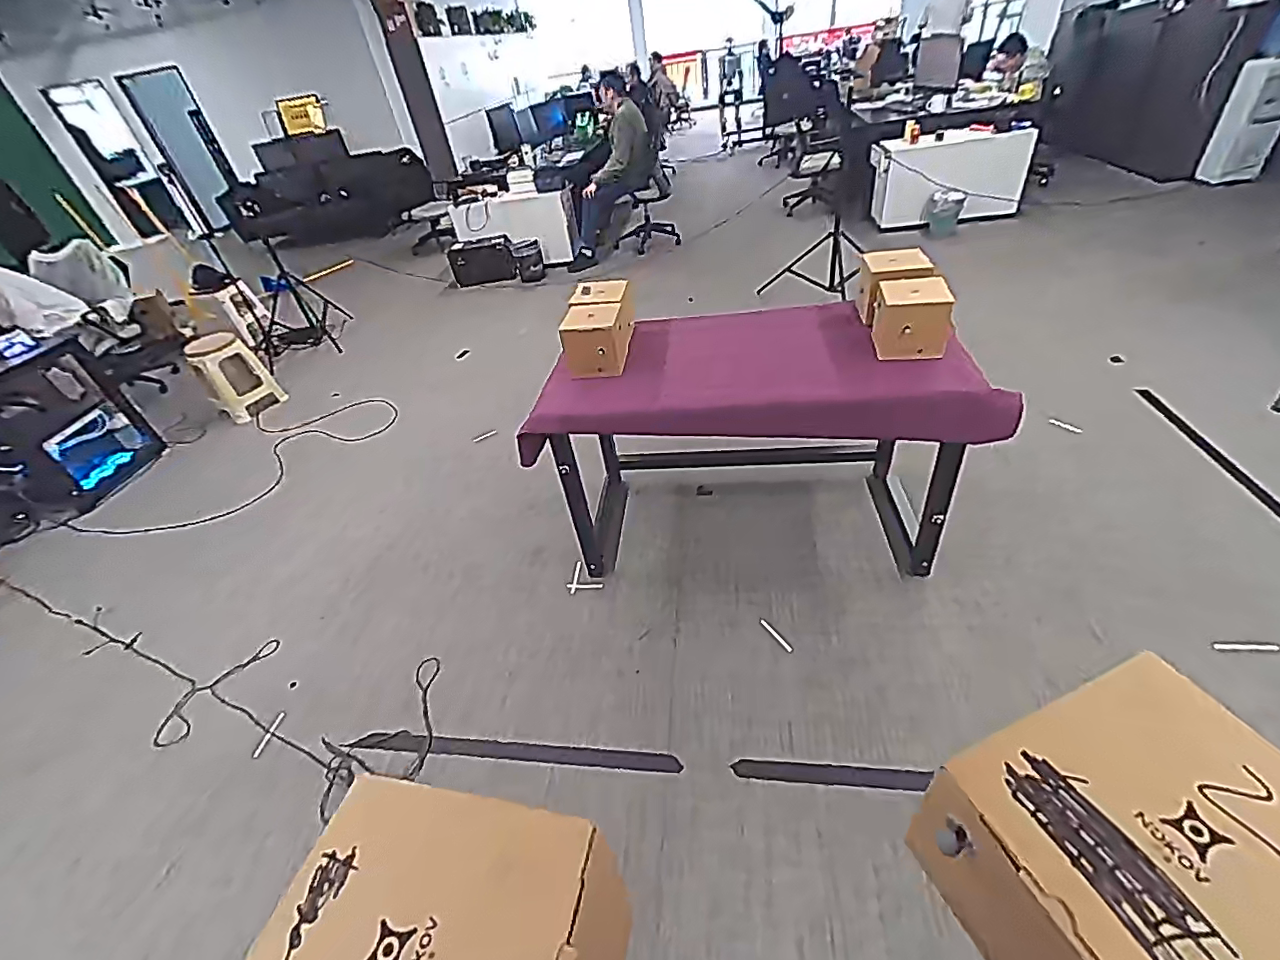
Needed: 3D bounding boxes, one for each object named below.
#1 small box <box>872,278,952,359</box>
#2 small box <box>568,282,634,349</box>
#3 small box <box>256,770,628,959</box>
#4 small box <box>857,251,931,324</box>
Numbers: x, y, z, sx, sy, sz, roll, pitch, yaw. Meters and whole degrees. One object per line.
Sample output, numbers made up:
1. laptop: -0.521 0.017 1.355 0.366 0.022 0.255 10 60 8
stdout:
1. small box: 0.758 -0.449 1.524 0.168 0.176 0.179 1 39 14
2. small box: -0.126 -0.555 1.837 0.179 0.176 0.168 1 42 11
3. small box: -0.113 0.317 0.337 0.179 0.176 0.168 4 38 14
4. small box: 0.783 -0.598 1.689 0.179 0.176 0.168 -1 41 11
